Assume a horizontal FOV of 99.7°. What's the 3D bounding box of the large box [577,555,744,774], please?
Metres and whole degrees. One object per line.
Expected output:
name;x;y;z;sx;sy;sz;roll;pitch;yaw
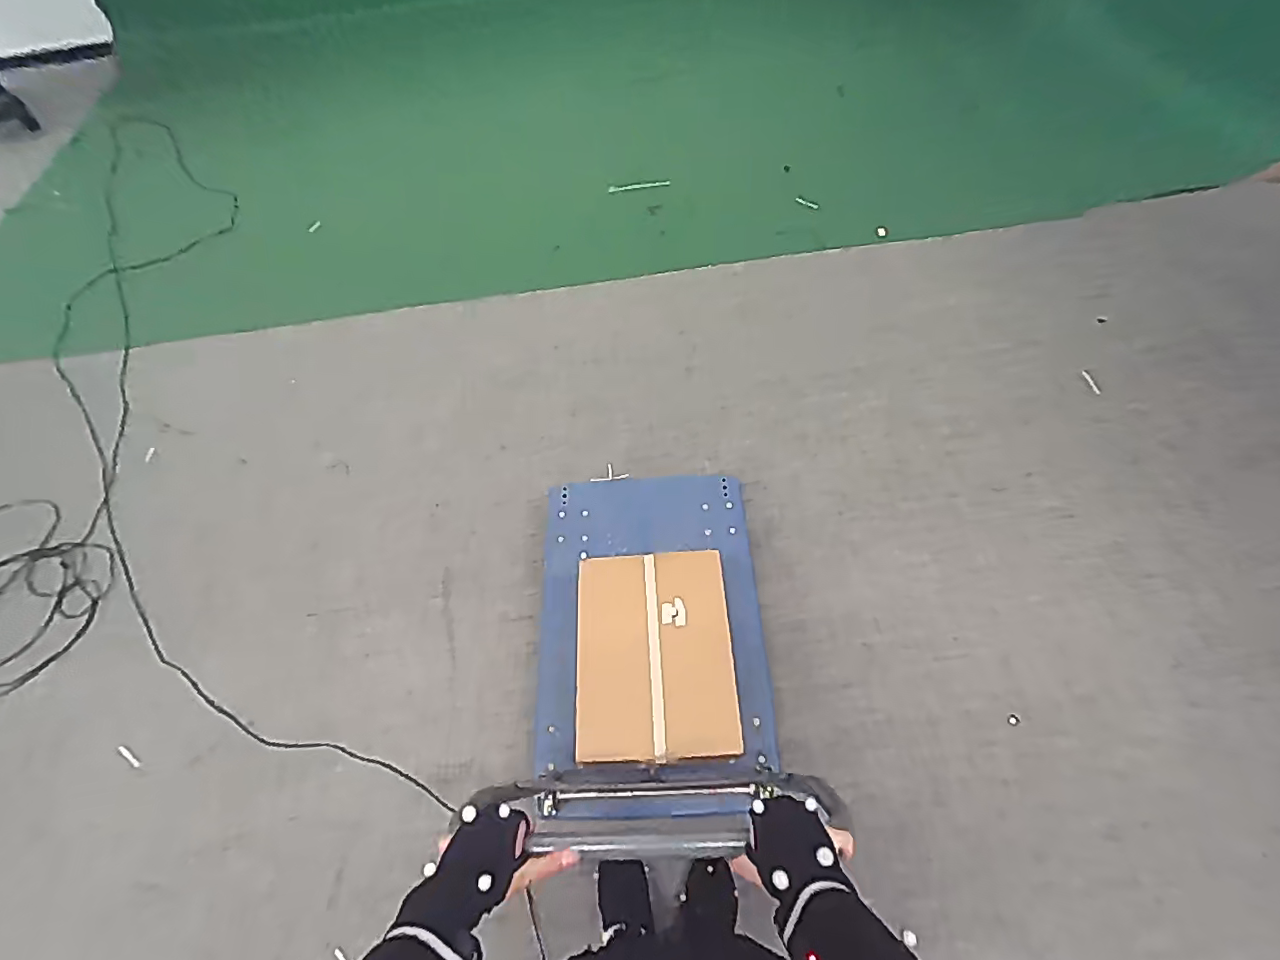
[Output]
large box;0.039;0.422;1.221;0.320;0.320;0.408;-3;59;1
